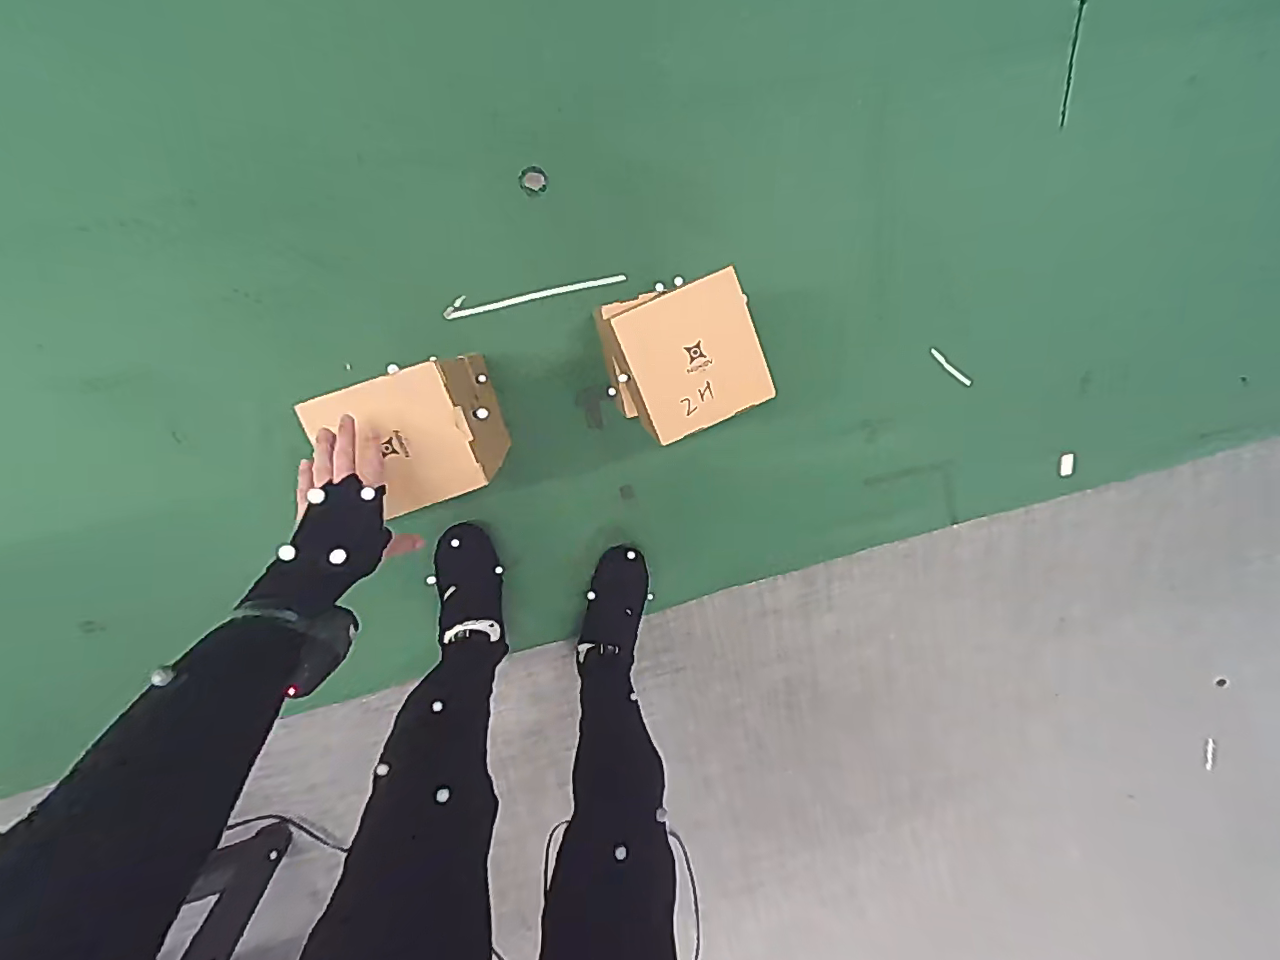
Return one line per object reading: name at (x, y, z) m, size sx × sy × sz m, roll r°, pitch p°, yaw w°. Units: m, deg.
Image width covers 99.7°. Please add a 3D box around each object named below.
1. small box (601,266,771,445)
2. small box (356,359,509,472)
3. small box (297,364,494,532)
small box at (0.054, -0.171, 0.750) m, size 0.168 × 0.176 × 0.179 m, roll -24°, pitch 107°, yaw -1°
small box at (-0.325, -0.094, 0.891) m, size 0.168 × 0.176 × 0.179 m, roll -17°, pitch 105°, yaw -3°
small box at (-0.309, -0.055, 0.733) m, size 0.179 × 0.176 × 0.168 m, roll -19°, pitch 105°, yaw -3°
